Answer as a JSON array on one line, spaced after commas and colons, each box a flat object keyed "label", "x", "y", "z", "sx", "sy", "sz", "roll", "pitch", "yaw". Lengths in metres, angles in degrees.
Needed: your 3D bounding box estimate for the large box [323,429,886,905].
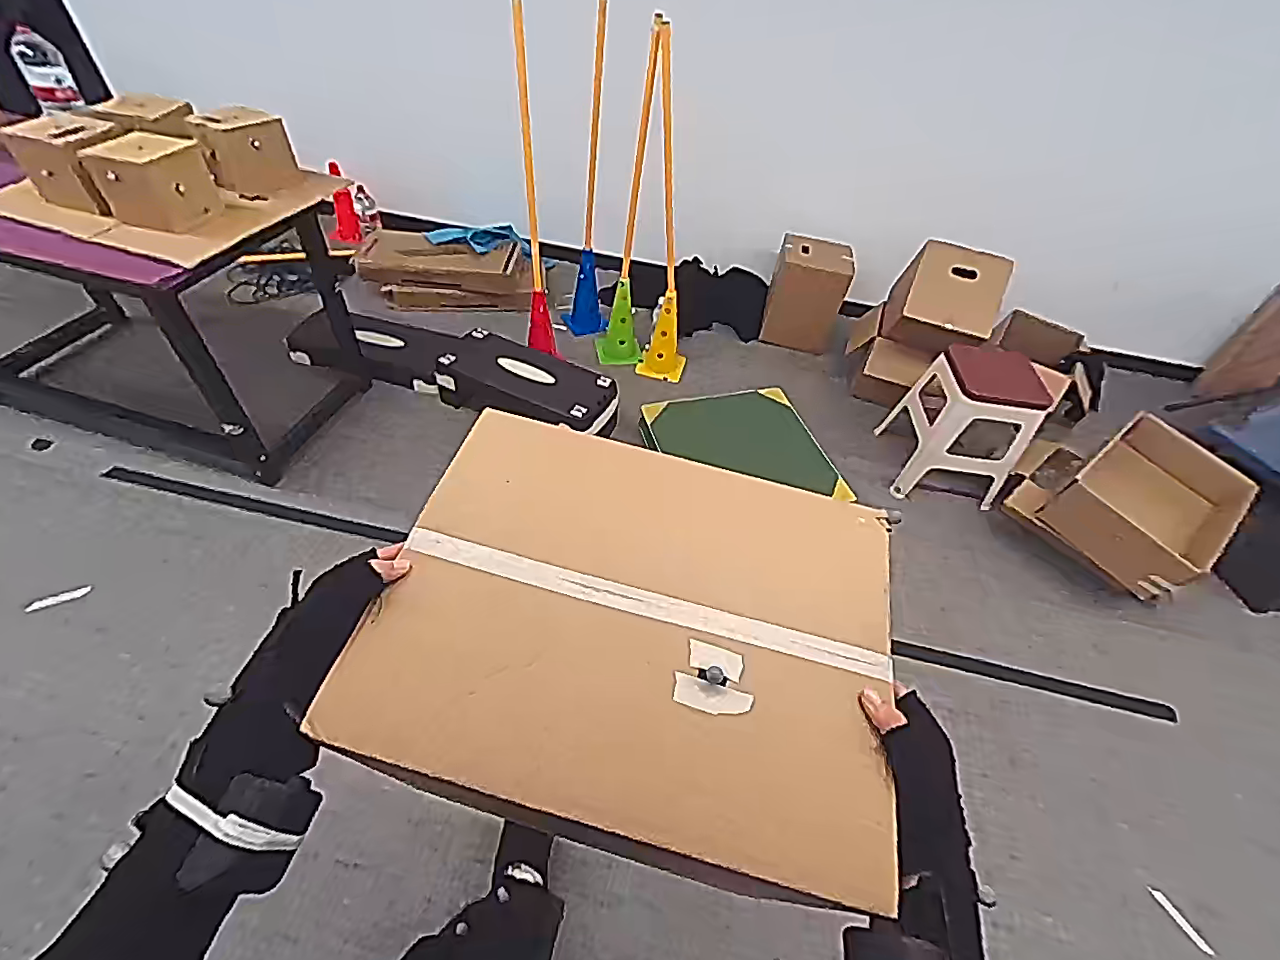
[{"label": "large box", "x": -0.013, "y": 0.198, "z": 0.570, "sx": 0.408, "sy": 0.320, "sz": 0.320, "roll": 15, "pitch": 55, "yaw": 3}]
